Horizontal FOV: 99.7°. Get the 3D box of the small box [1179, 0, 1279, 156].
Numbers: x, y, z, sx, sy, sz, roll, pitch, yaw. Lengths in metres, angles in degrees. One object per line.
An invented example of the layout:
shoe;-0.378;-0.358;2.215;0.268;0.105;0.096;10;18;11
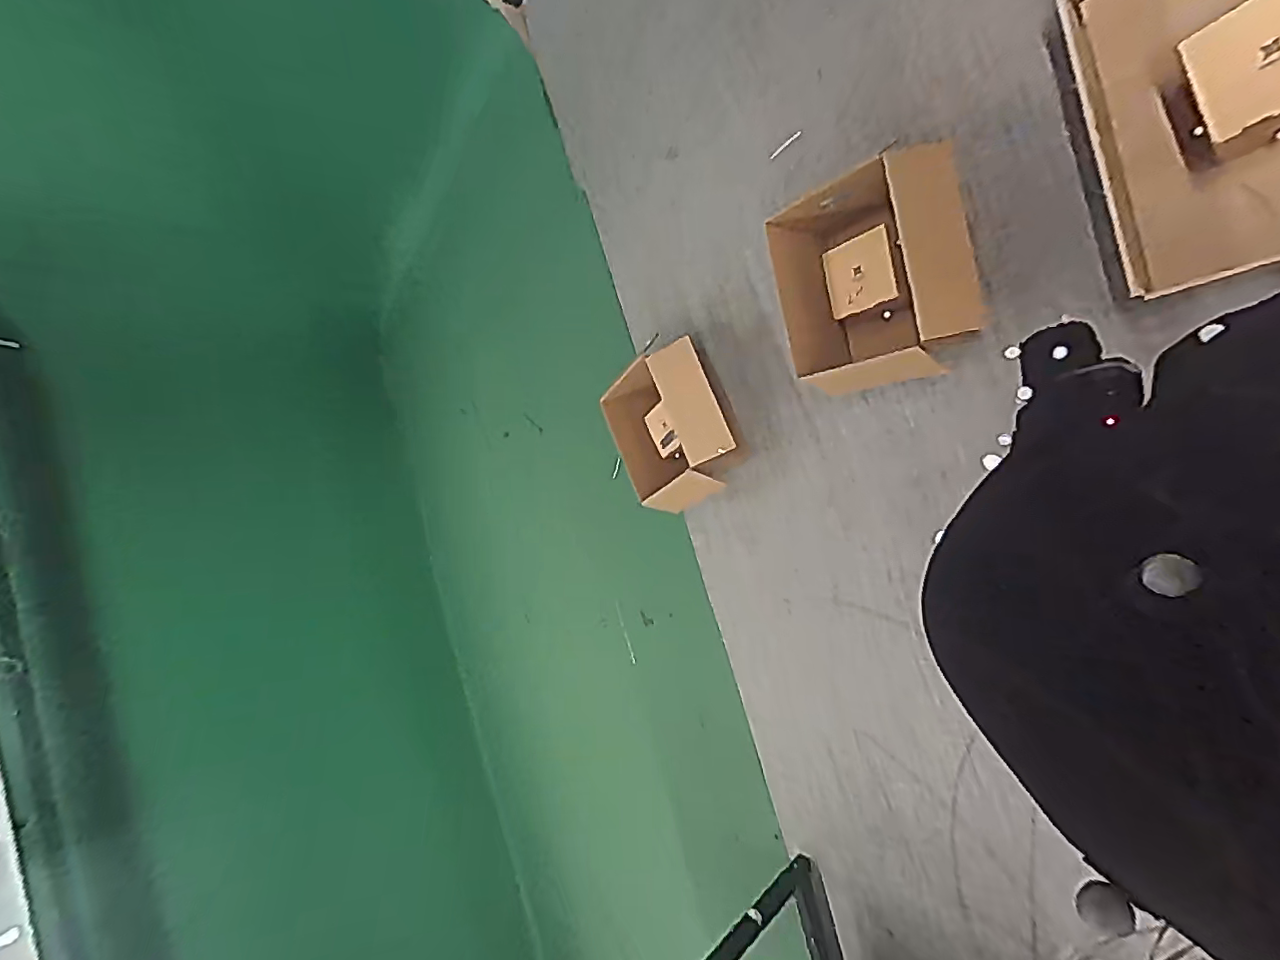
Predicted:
small box;0.981;-0.646;0.840;0.168;0.176;0.179;-22;84;50
